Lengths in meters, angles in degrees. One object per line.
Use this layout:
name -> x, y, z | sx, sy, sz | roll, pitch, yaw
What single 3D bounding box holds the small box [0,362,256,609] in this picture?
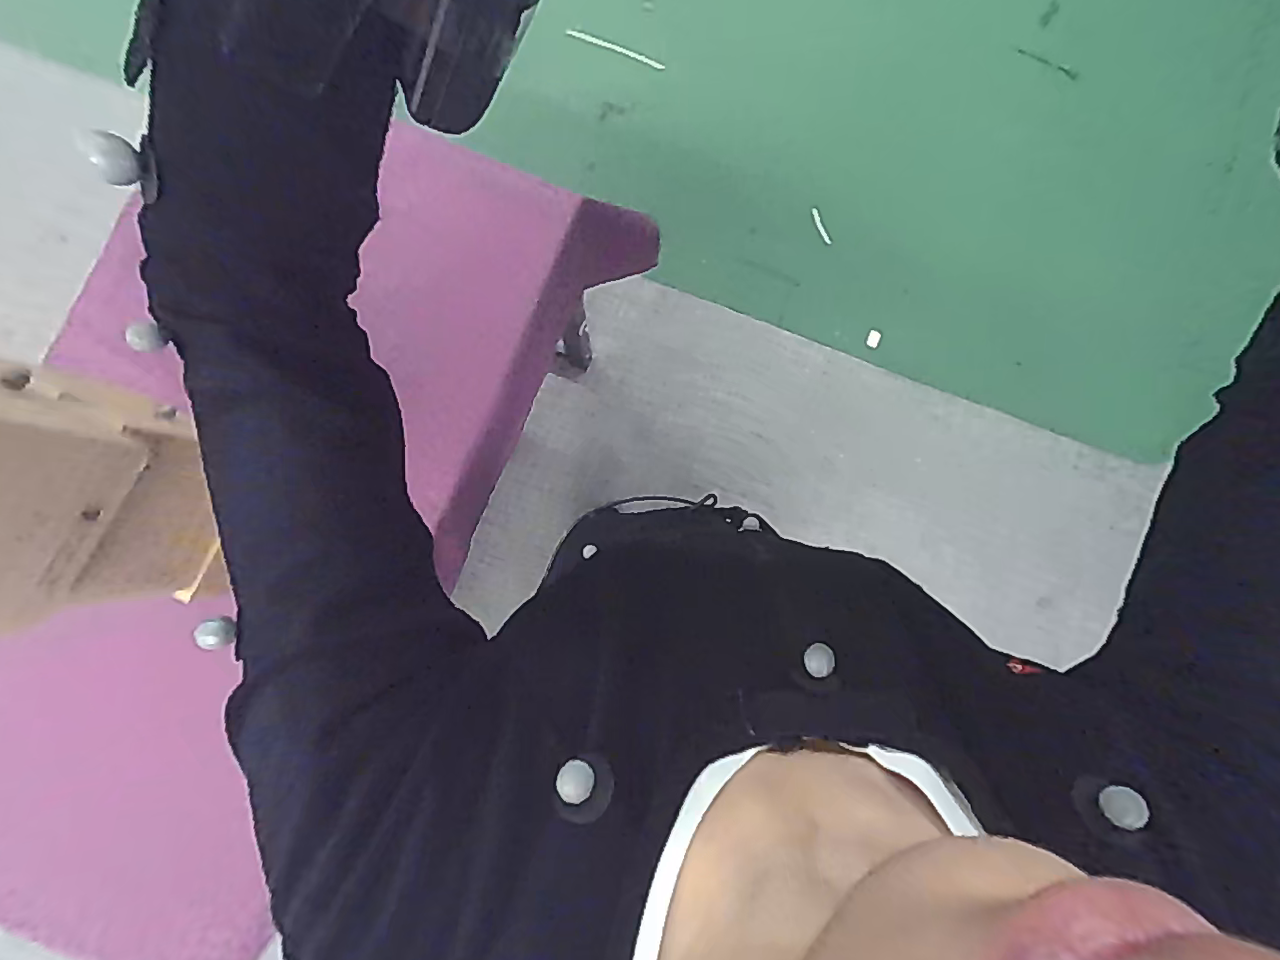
small box -> -0.521, 0.013, 0.514 | 0.168, 0.176, 0.179 | 24, 84, 1
